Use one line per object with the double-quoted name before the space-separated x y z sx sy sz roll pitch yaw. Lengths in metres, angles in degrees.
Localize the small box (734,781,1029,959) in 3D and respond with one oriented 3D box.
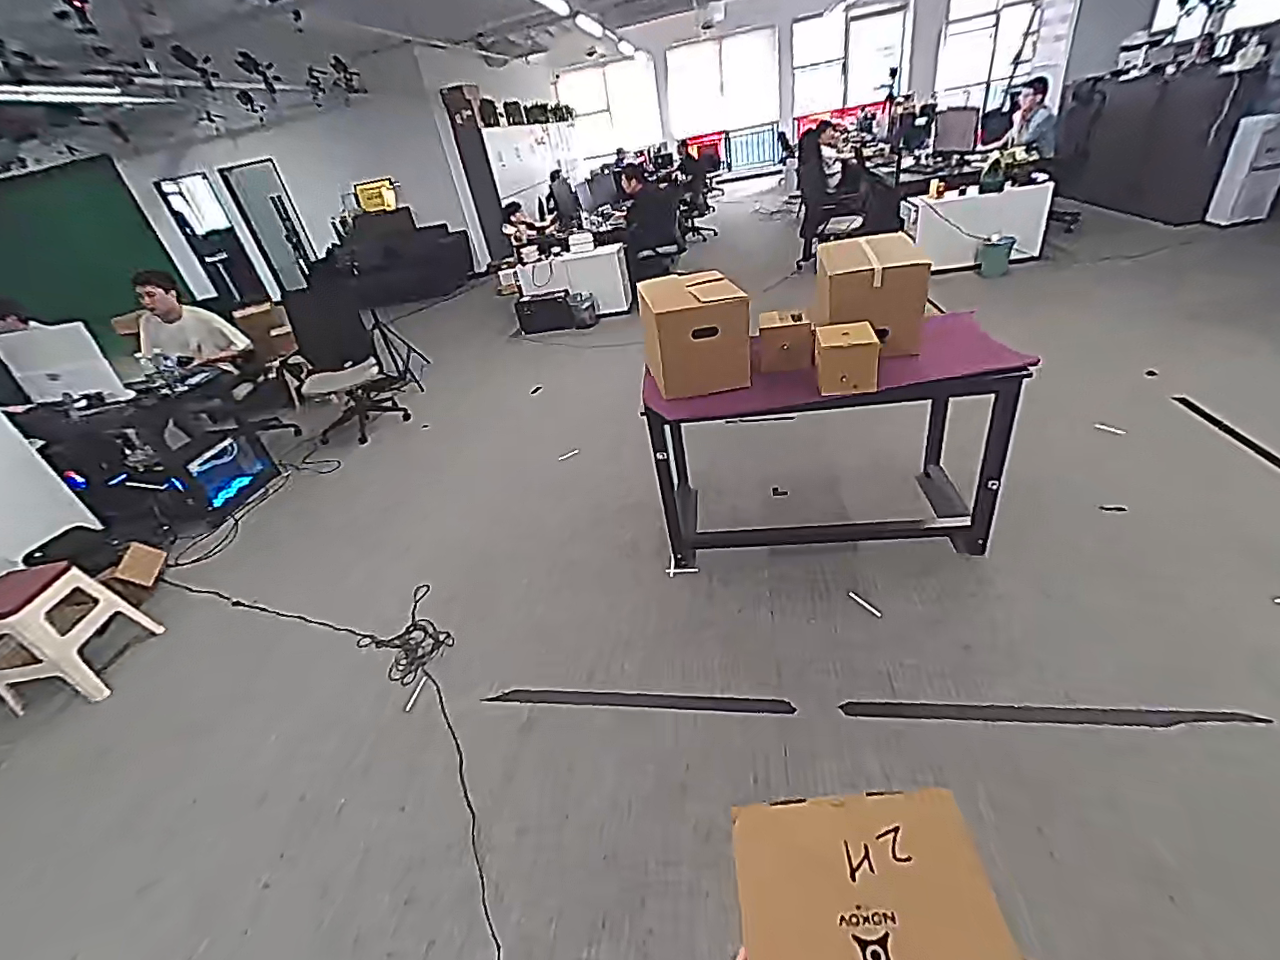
"small box" 0.168 0.350 0.384 0.168 0.176 0.179 -10 33 8
